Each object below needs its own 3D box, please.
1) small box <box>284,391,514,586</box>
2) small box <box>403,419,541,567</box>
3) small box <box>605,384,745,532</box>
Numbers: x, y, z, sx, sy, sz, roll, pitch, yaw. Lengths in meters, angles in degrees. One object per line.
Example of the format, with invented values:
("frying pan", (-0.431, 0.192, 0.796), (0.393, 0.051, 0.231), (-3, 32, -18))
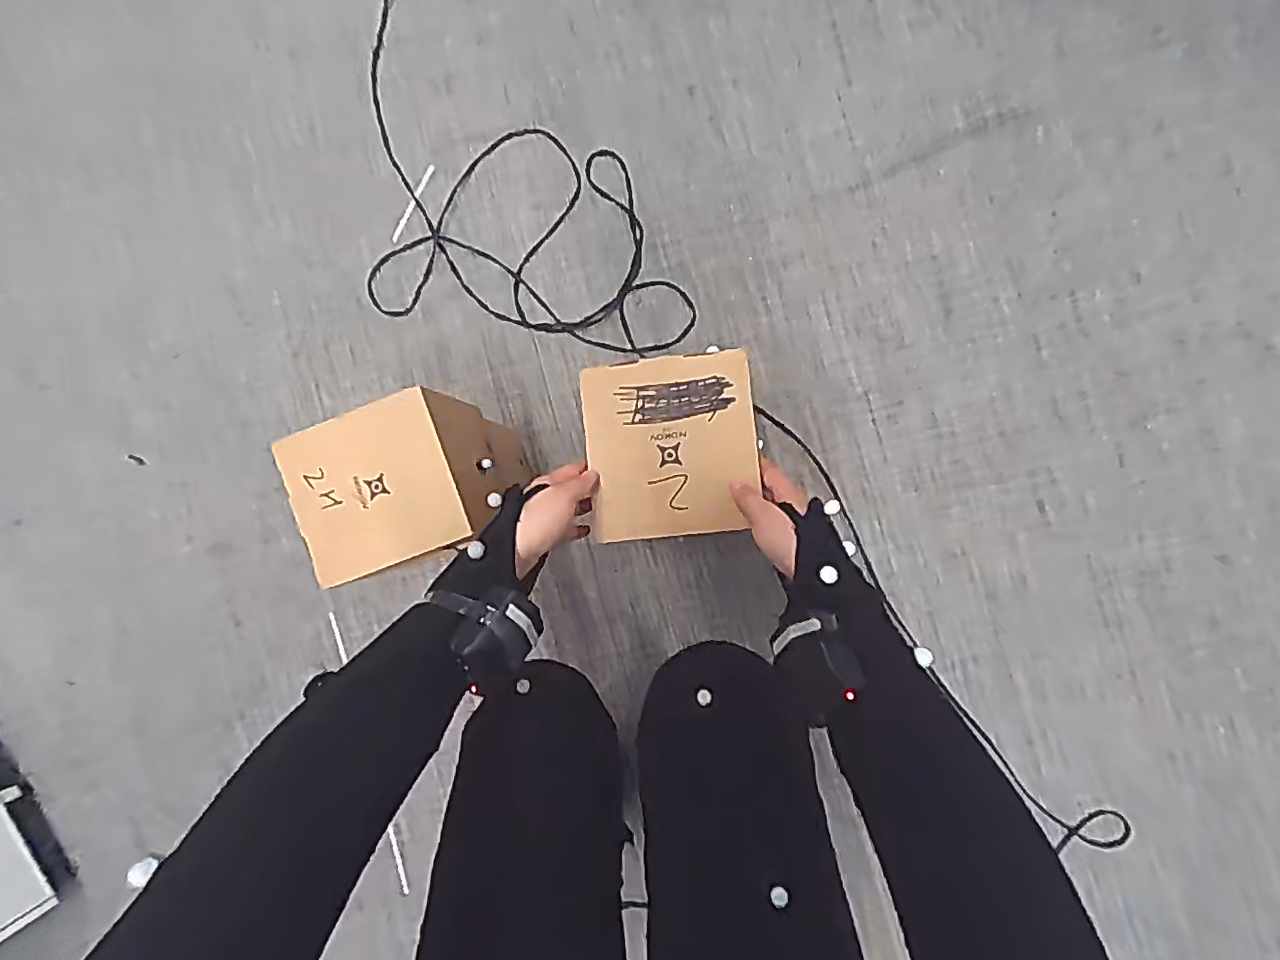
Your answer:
("small box", (-0.267, 0.008, 0.647), (0.179, 0.176, 0.168), (-20, 88, 4))
("small box", (-0.261, 0.016, 0.812), (0.179, 0.176, 0.168), (-19, 89, 4))
("small box", (0.052, -0.028, 0.789), (0.168, 0.176, 0.179), (-10, 88, 4))
